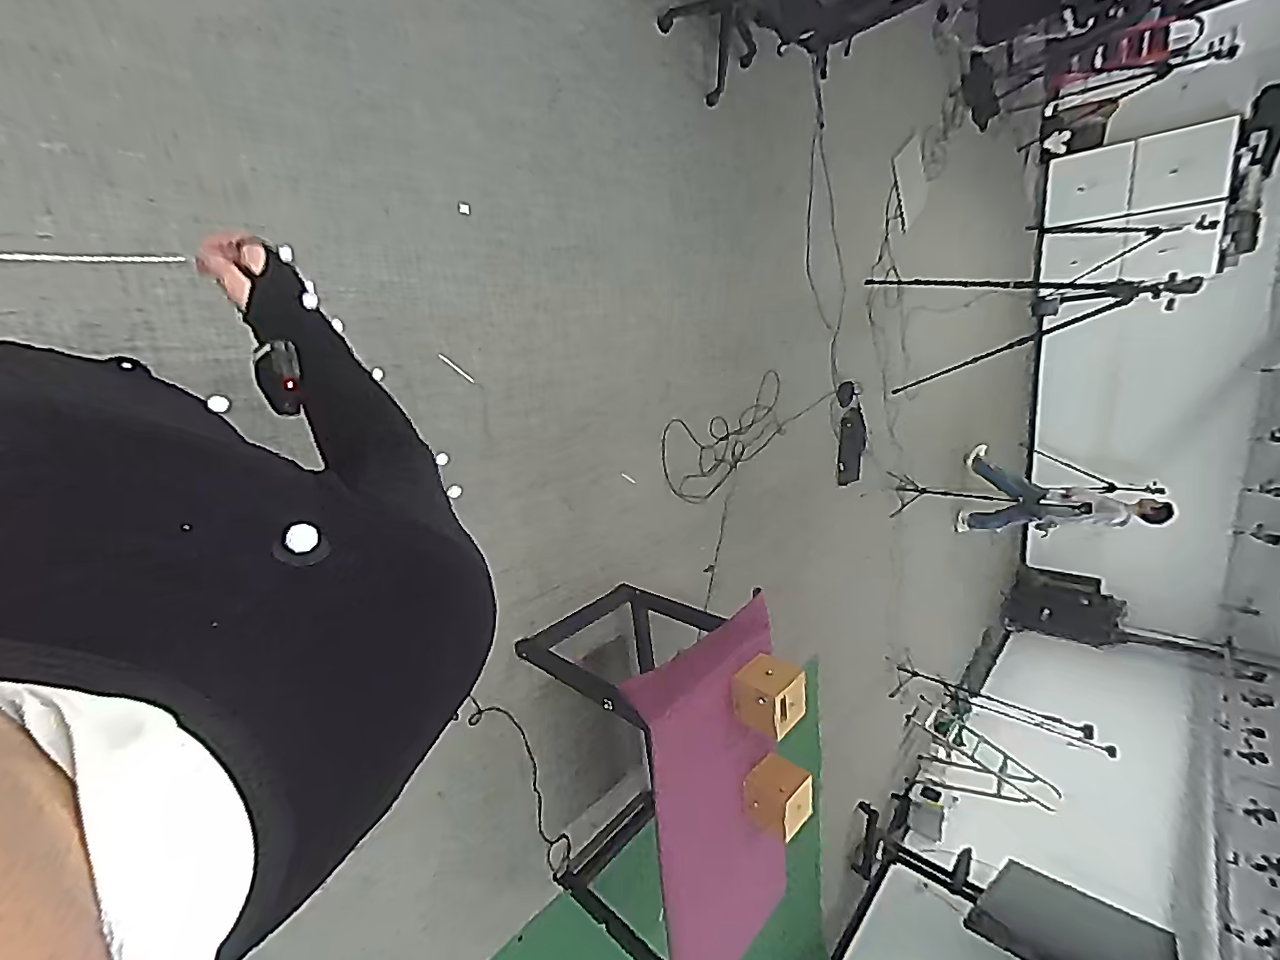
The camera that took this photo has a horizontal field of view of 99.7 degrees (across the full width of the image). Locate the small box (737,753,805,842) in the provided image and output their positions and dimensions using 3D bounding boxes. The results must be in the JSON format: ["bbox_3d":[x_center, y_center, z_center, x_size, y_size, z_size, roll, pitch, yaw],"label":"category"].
[{"bbox_3d":[0.458,1.099,1.892,0.179,0.176,0.168,-16,108,-40],"label":"small box"}]
